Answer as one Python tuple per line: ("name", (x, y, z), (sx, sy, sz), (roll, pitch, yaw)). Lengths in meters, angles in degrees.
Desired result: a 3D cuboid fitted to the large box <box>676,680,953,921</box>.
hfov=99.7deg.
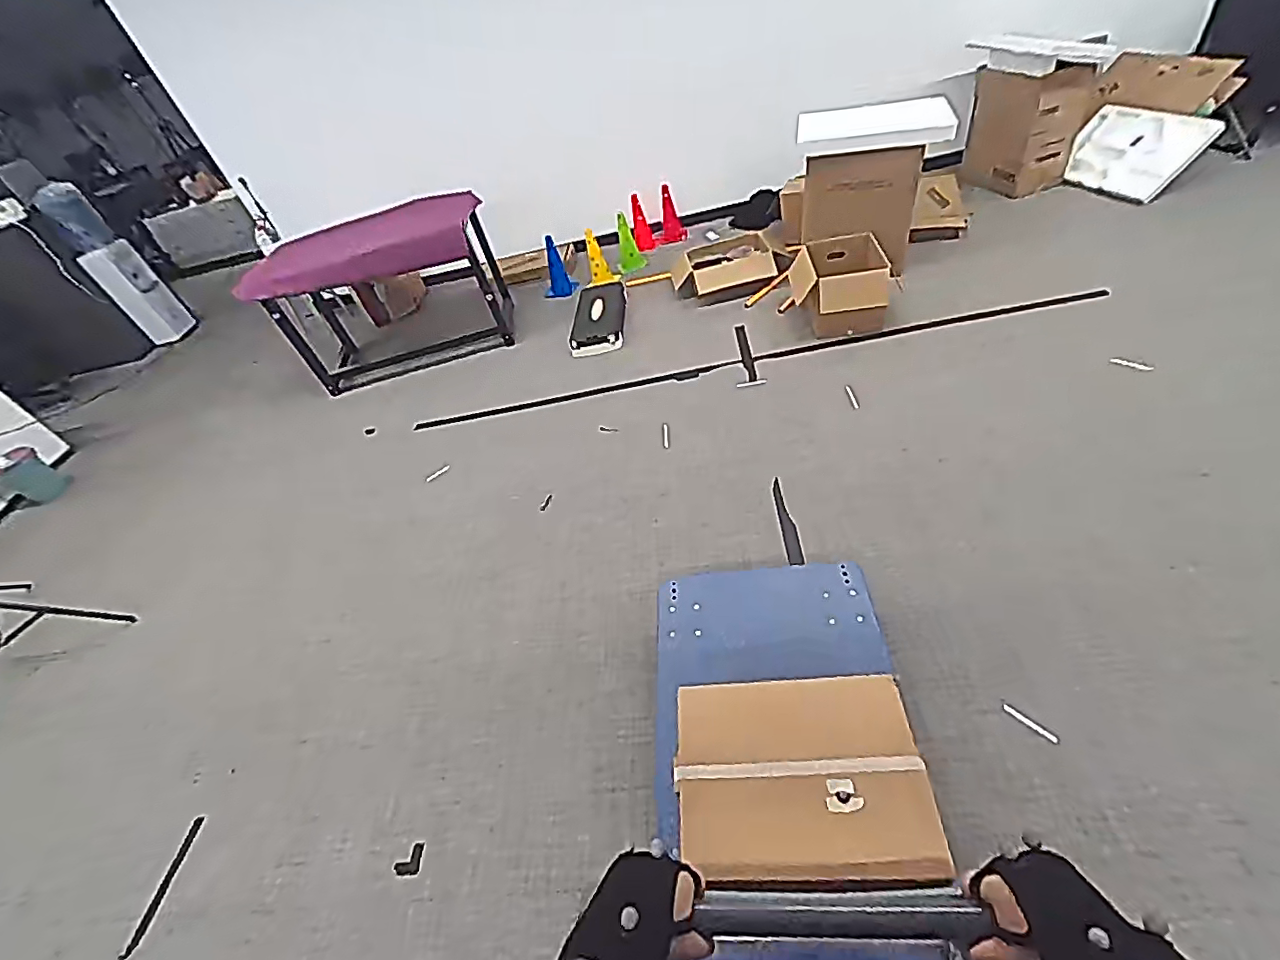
("large box", (0.288, 0.603, 1.010), (0.408, 0.320, 0.320), (-7, 45, 9))
